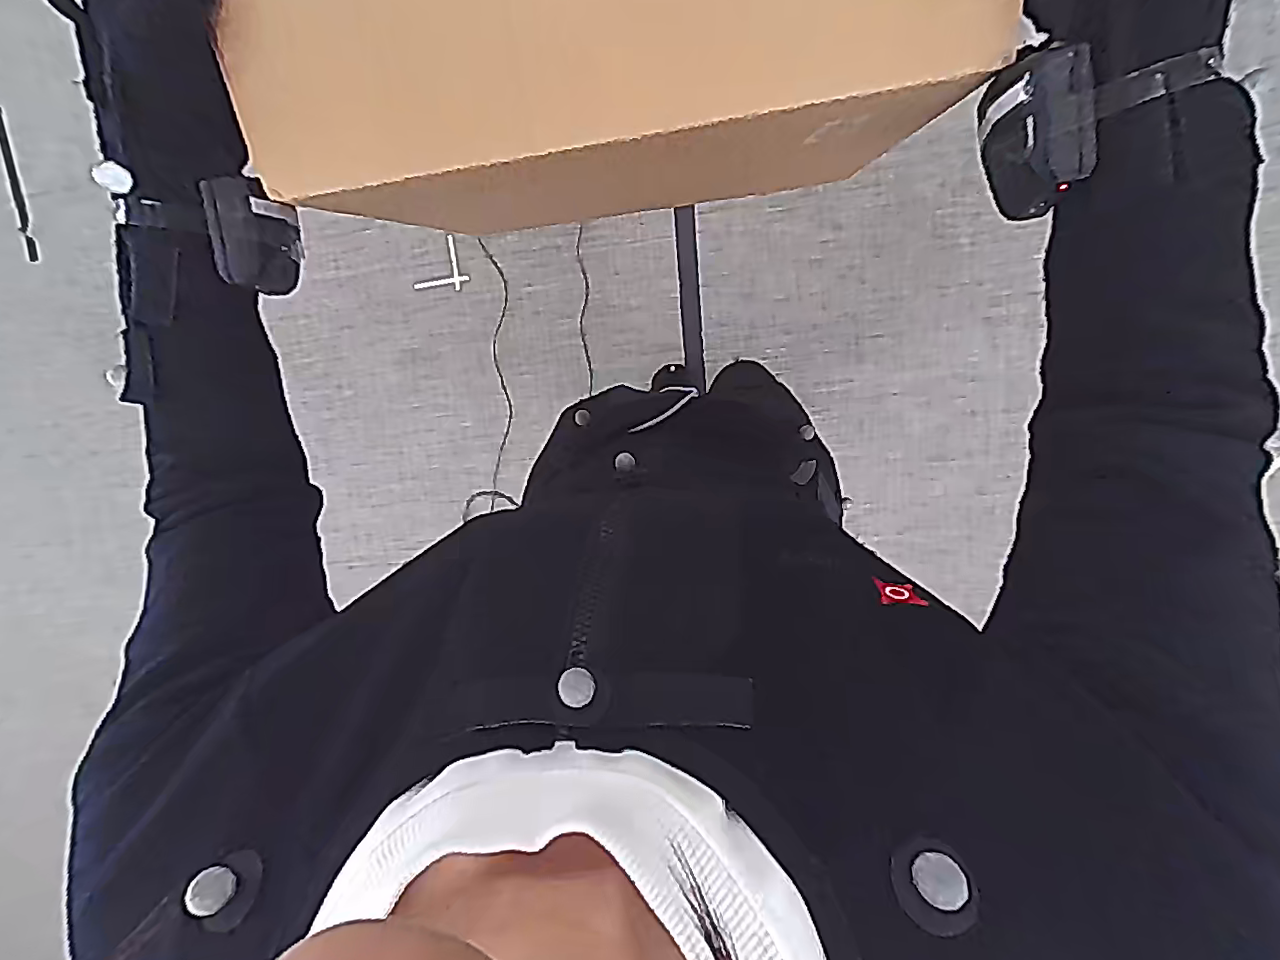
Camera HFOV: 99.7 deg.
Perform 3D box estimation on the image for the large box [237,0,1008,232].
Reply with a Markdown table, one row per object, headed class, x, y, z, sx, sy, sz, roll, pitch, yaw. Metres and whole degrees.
| class | x | y | z | sx | sy | sz | roll | pitch | yaw |
| --- | --- | --- | --- | --- | --- | --- | --- | --- | --- |
| large box | -0.021 | -0.389 | 0.389 | 0.408 | 0.320 | 0.320 | -6 | 110 | 8 |
